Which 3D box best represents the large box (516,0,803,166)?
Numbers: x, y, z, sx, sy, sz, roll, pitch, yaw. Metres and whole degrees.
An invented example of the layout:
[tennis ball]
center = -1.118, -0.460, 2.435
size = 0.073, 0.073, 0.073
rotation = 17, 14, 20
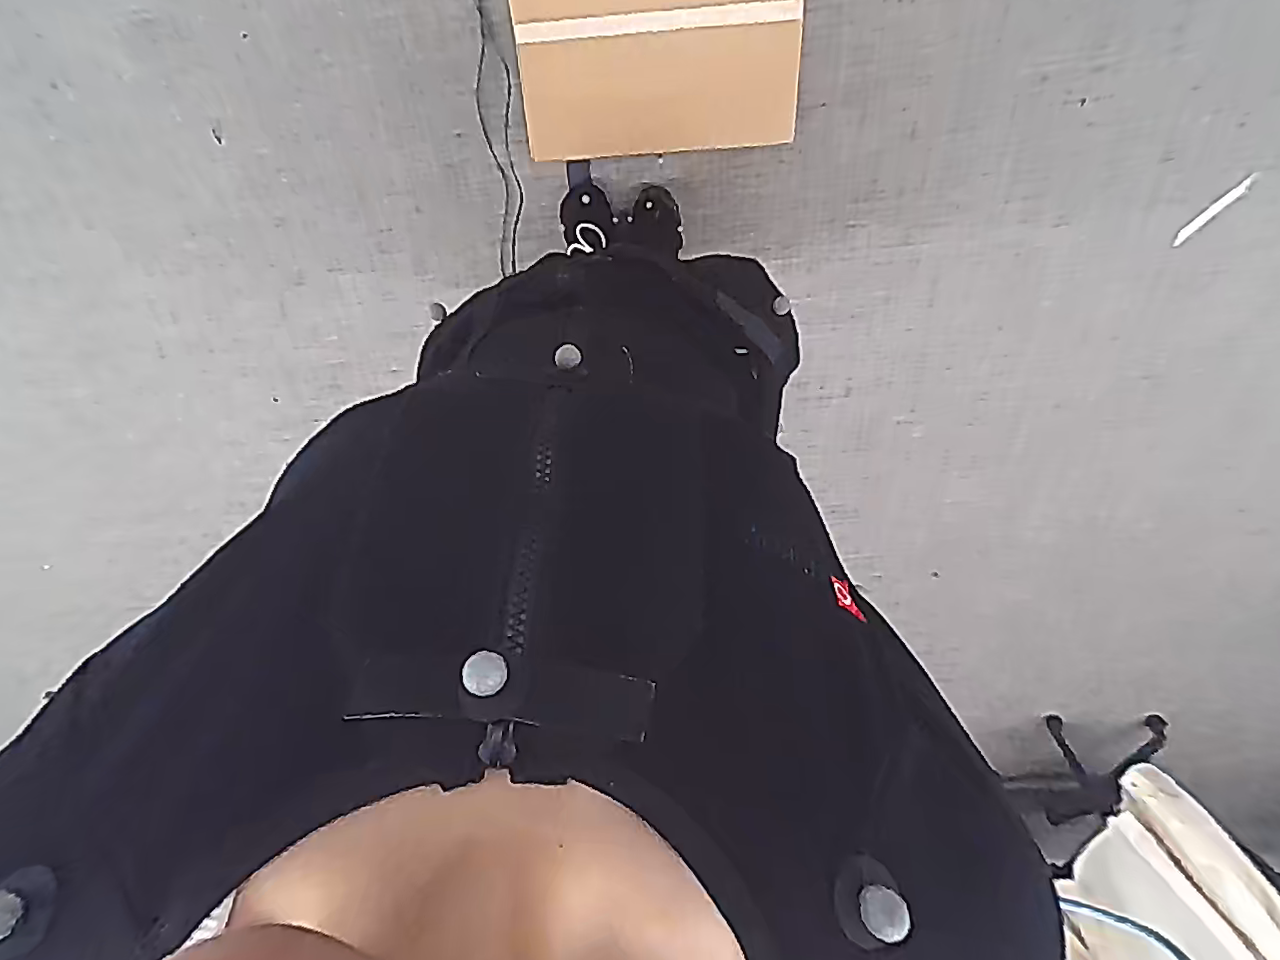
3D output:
[large box]
center = 0.029, -0.713, 0.889
size = 0.408, 0.320, 0.320
rotation = -3, 122, 3
